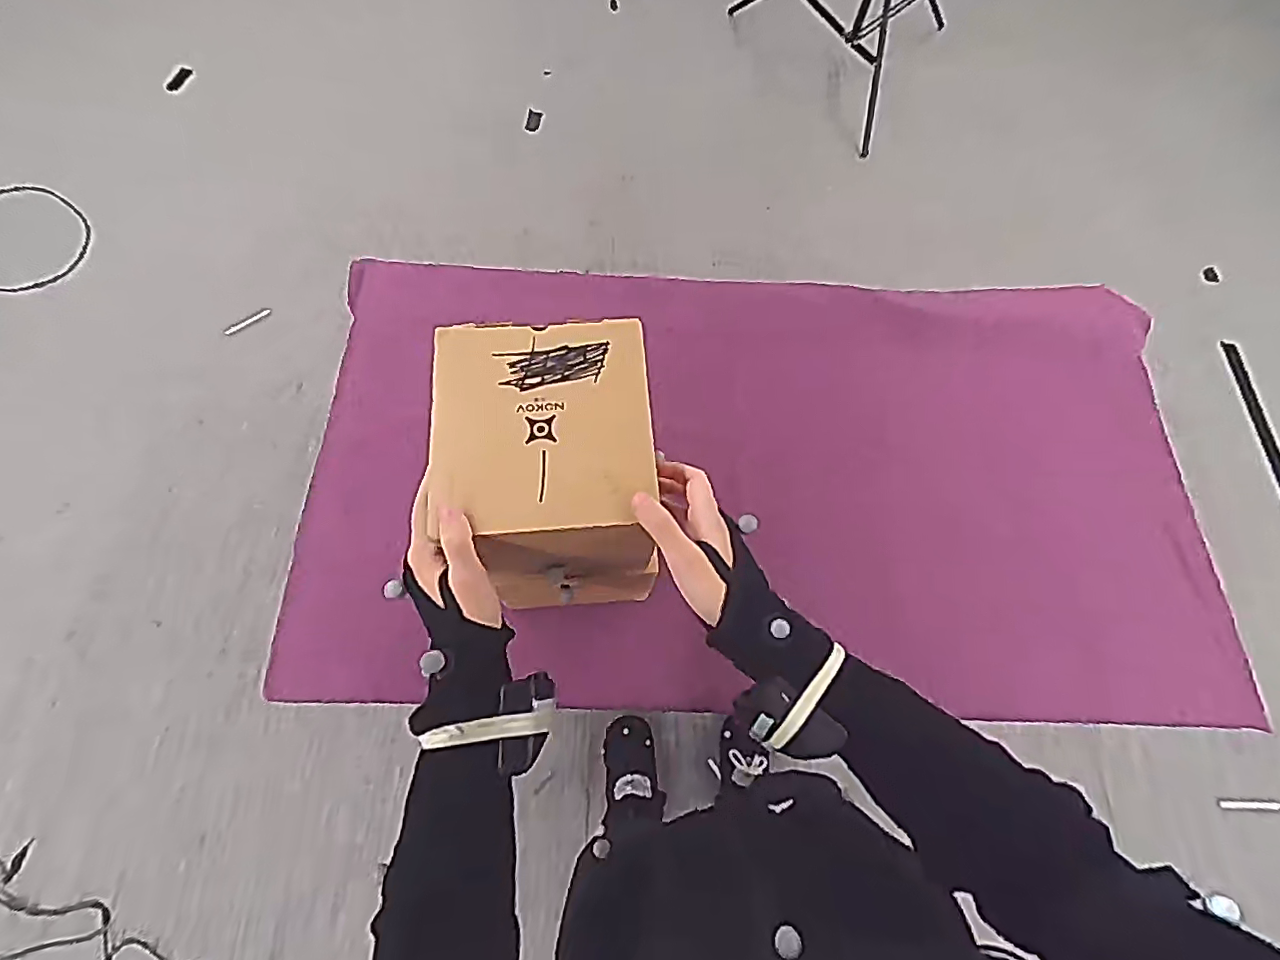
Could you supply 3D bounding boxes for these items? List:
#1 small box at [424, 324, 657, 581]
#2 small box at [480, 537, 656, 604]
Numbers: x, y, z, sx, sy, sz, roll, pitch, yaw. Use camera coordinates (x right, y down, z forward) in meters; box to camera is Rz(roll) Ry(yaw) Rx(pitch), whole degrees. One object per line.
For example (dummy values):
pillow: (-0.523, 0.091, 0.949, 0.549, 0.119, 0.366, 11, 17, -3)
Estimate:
small box: (-0.079, -0.016, 0.483, 0.168, 0.176, 0.179, -4, 70, -4)
small box: (-0.080, 0.049, 0.634, 0.179, 0.176, 0.168, -3, 70, -4)
